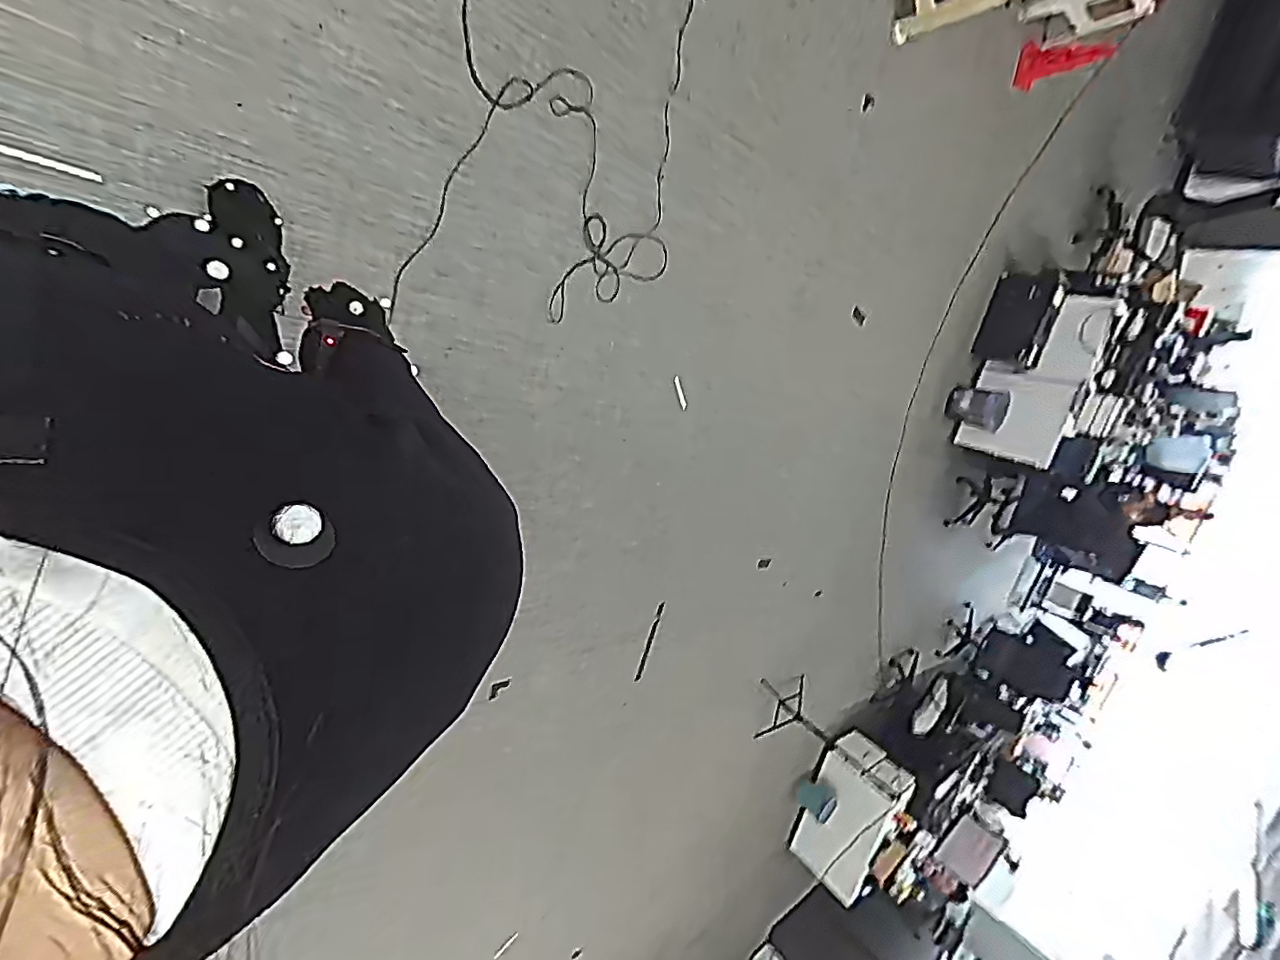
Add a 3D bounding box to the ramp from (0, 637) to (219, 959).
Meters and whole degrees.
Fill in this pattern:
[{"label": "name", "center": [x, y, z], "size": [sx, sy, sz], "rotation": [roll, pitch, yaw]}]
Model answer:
[{"label": "ramp", "center": [-1.276, 0.857, 1.190], "size": [0.509, 0.206, 0.991], "rotation": [3, 106, -40]}]
